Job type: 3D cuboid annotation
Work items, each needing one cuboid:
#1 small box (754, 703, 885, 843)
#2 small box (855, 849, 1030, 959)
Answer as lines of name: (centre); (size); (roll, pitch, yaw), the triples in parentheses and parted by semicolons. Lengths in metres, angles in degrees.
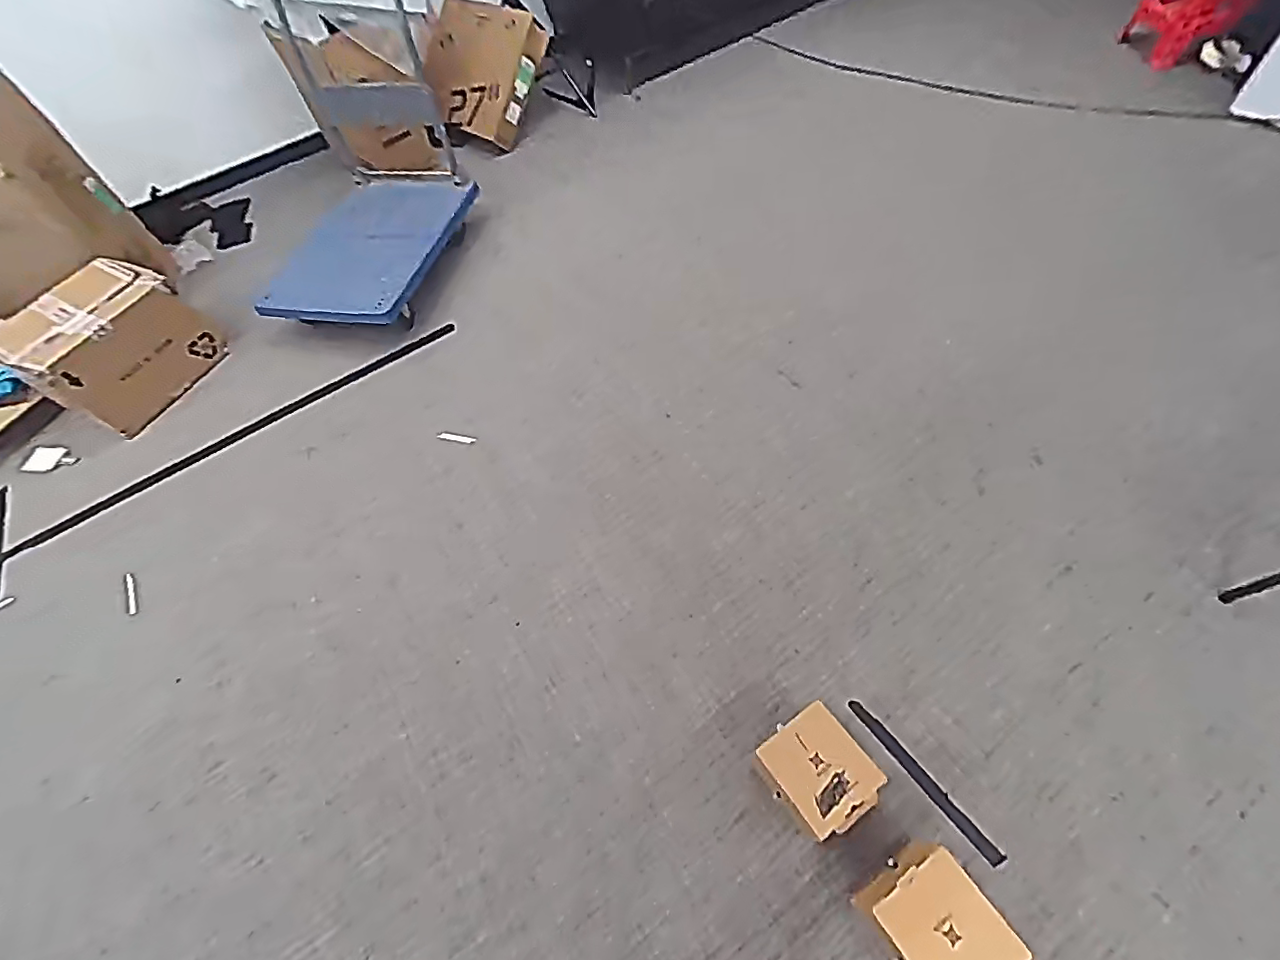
small box: (0.343, 0.579, 1.070); (0.168, 0.176, 0.179); (-32, 57, -13)
small box: (0.502, 0.766, 0.926); (0.168, 0.176, 0.179); (-32, 57, -12)
